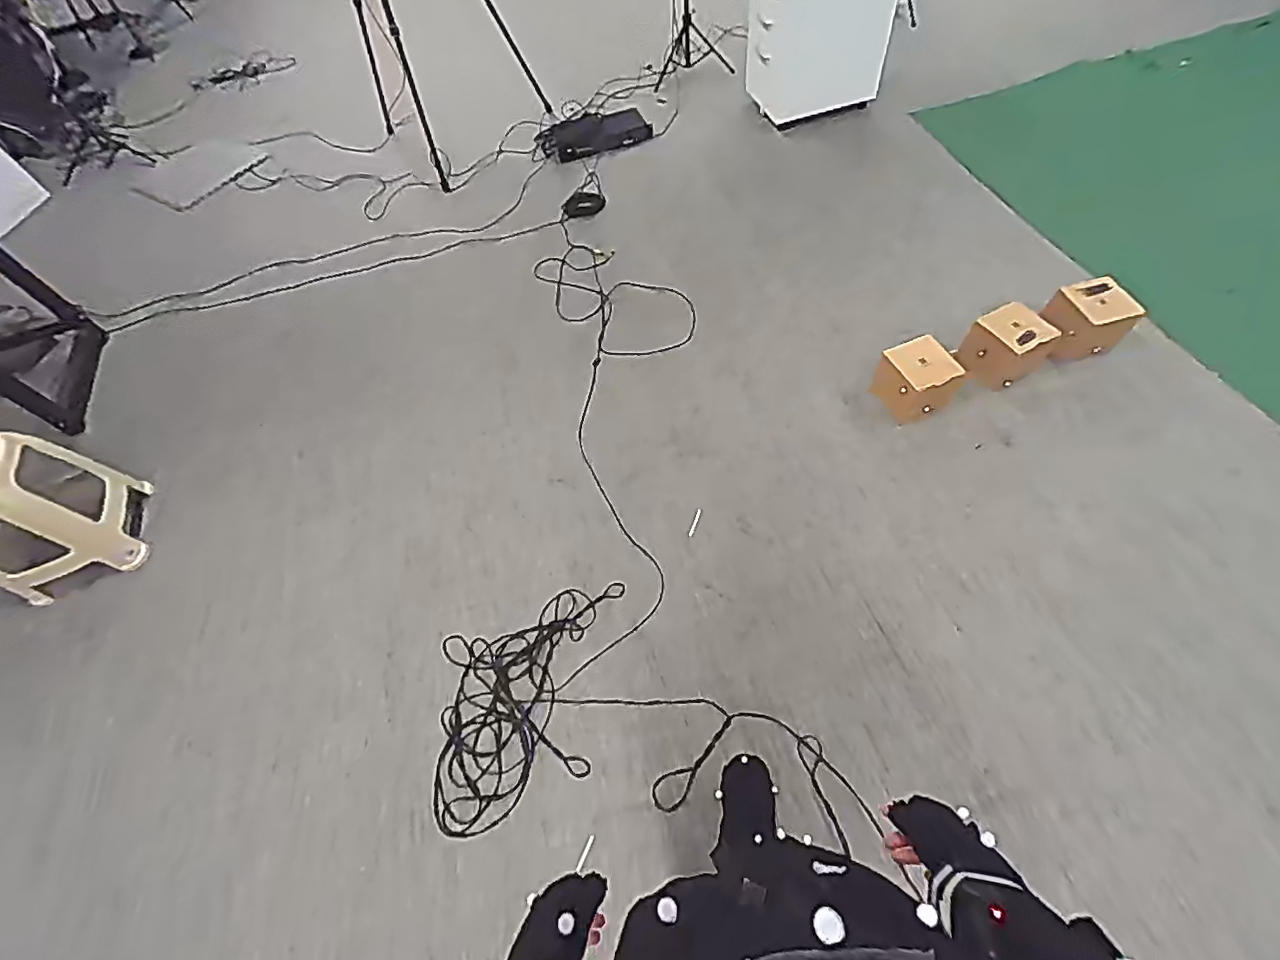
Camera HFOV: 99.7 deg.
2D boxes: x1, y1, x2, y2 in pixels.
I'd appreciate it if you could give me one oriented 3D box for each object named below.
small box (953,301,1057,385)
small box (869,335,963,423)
[{"bbox_3d":[1.135,-0.421,1.697,0.168,0.176,0.179,-25,59,-9],"label":"small box"},{"bbox_3d":[0.839,-0.309,1.667,0.168,0.176,0.179,-22,60,-6],"label":"small box"}]
